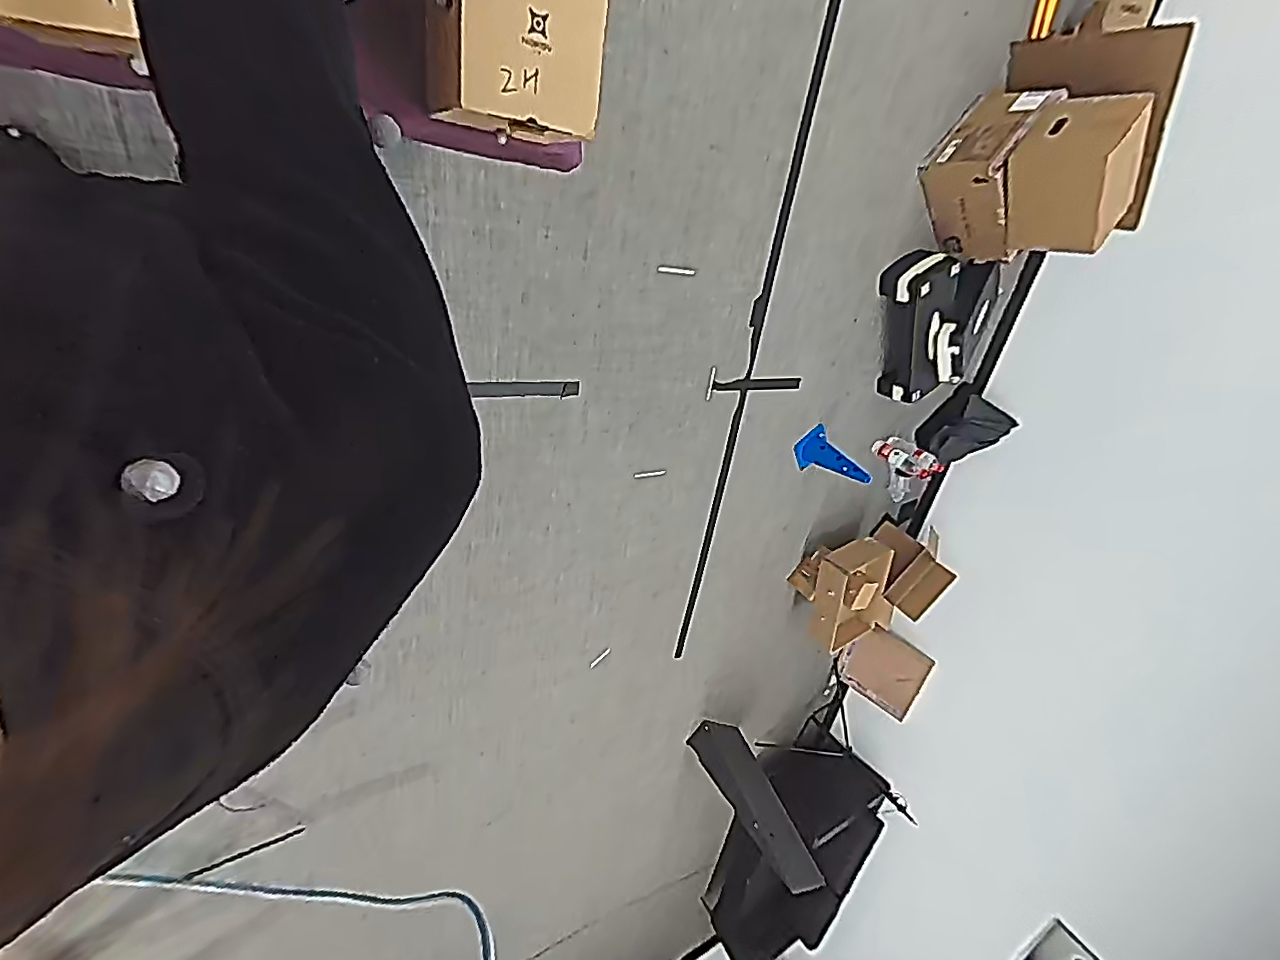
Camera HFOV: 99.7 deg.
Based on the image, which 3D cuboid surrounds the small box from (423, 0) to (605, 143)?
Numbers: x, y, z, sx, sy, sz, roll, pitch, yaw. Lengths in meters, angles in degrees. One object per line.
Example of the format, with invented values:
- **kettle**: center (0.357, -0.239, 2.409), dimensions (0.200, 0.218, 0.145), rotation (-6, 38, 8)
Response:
- **small box**: center (-0.158, -0.523, 0.650), dimensions (0.168, 0.176, 0.179), rotation (-7, 120, -31)

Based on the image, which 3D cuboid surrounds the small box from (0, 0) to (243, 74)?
- **small box**: center (-0.462, -0.475, 0.464), dimensions (0.168, 0.176, 0.179), rotation (-12, 124, -29)
